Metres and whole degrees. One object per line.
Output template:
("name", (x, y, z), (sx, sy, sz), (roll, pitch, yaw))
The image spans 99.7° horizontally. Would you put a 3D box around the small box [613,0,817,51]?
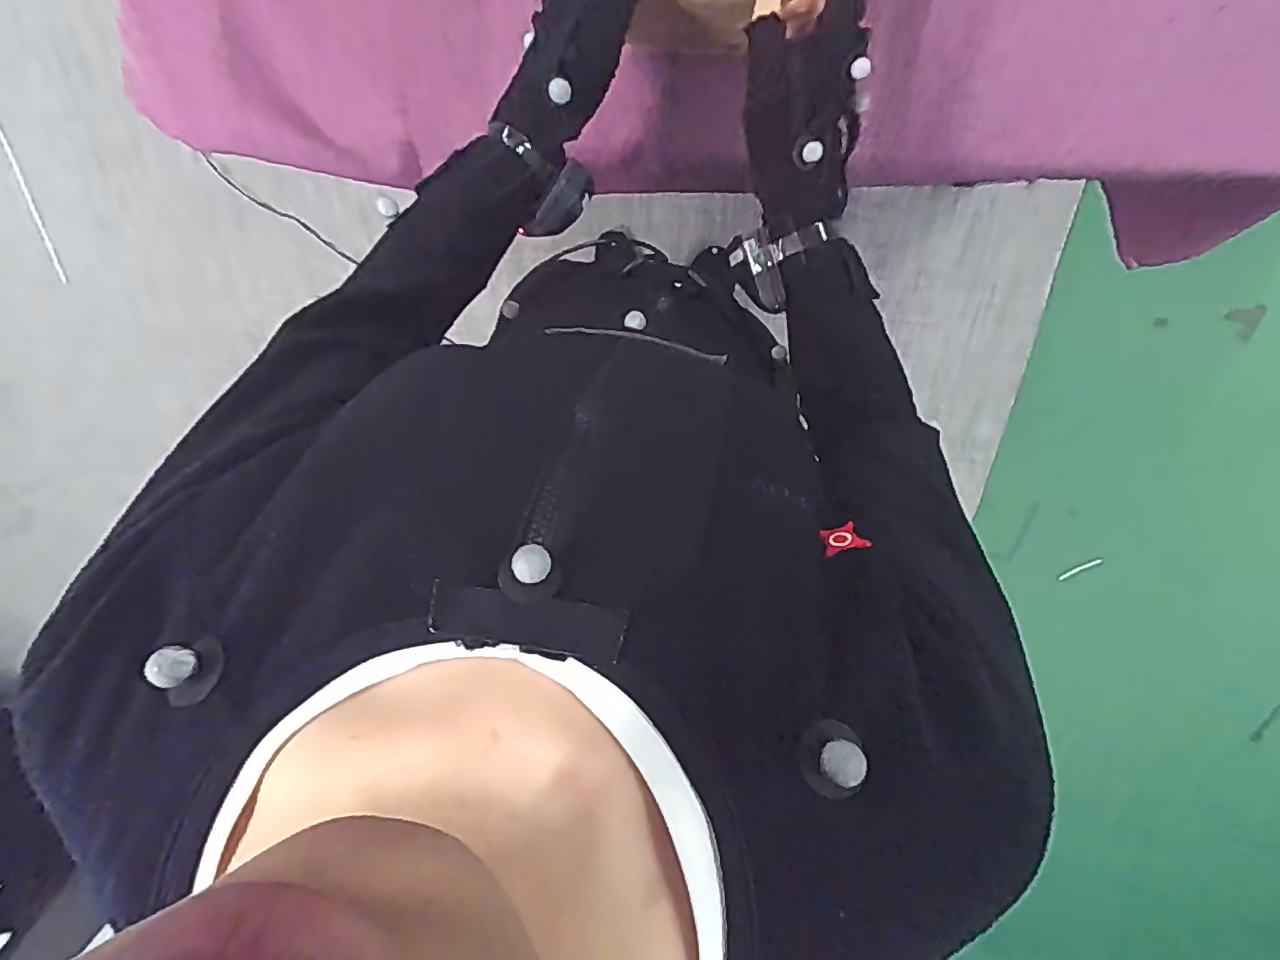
("small box", (0.069, -0.466, 0.426), (0.168, 0.176, 0.179), (4, 116, 3))
